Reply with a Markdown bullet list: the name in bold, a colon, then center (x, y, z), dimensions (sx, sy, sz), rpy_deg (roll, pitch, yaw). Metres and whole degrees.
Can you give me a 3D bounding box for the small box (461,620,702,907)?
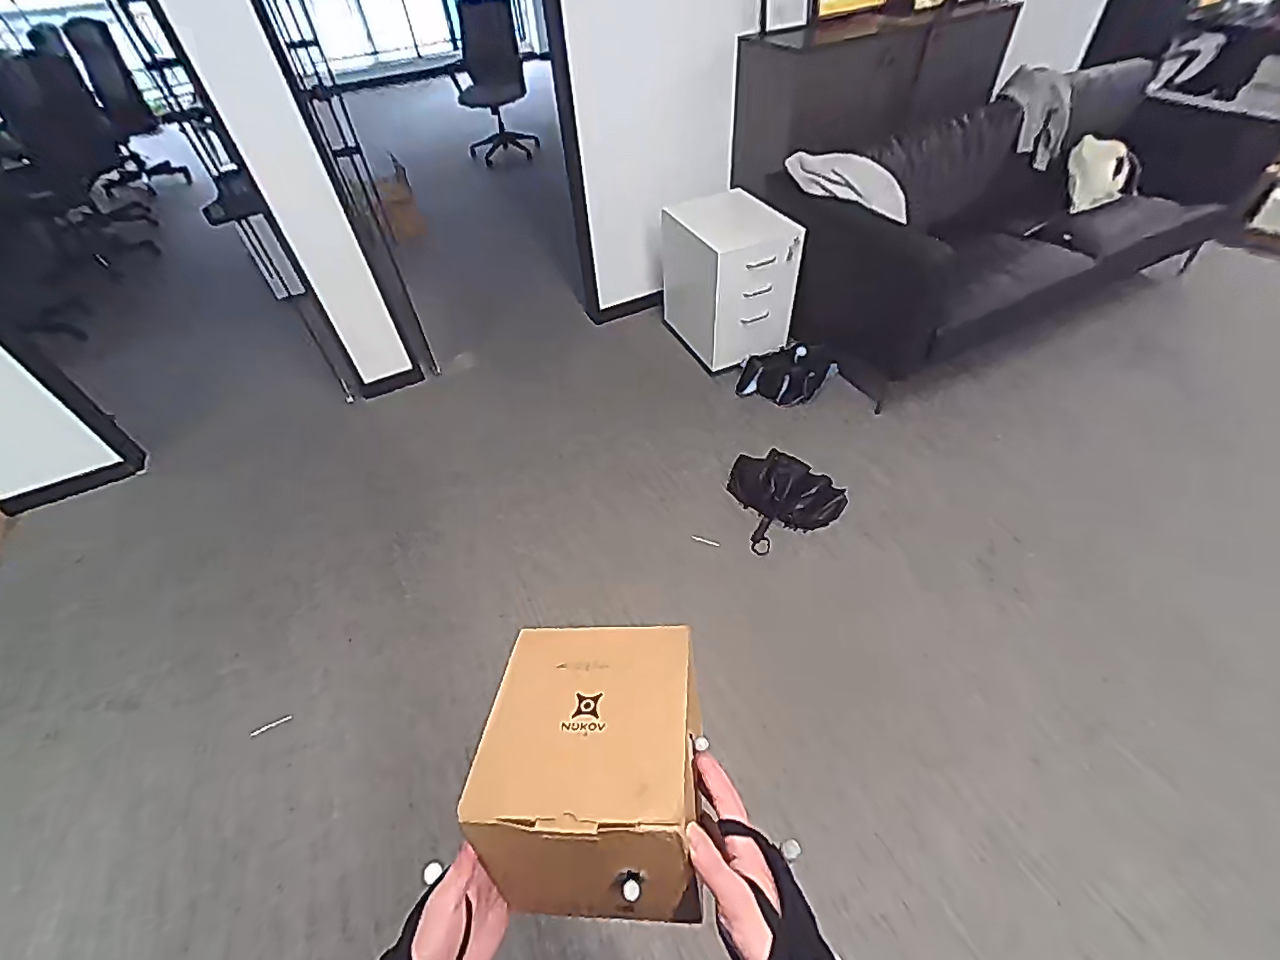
- **small box**: center (-0.031, 0.250, 0.487), dimensions (0.168, 0.176, 0.179), rpy_deg (-3, 33, 8)
